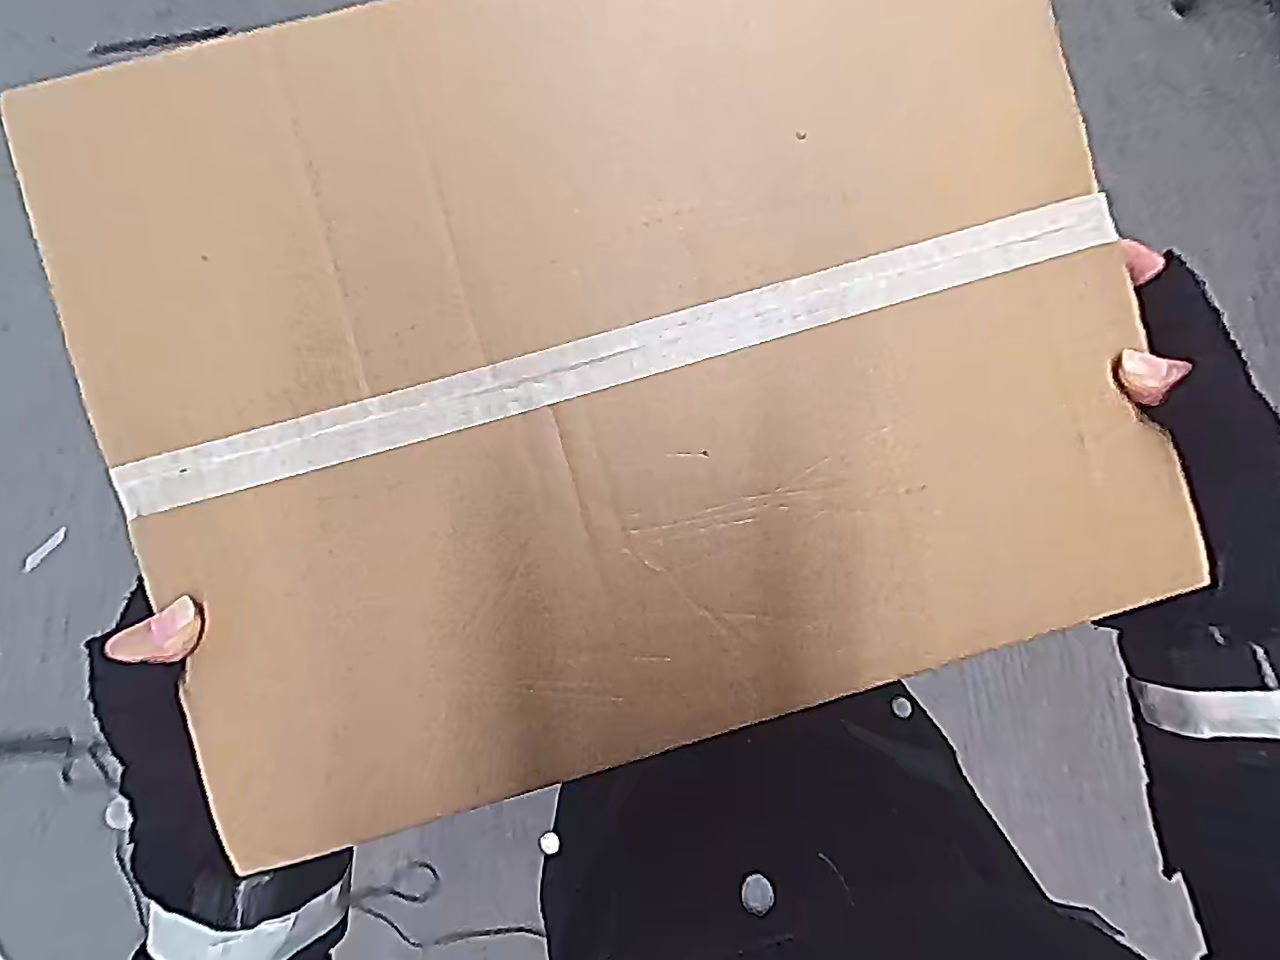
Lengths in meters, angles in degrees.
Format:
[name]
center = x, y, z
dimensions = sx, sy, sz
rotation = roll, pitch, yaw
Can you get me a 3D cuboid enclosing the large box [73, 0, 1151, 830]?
[large box]
center = -0.006, -0.054, 0.377
dimensions = 0.408, 0.320, 0.320
rotation = -15, 90, -2
